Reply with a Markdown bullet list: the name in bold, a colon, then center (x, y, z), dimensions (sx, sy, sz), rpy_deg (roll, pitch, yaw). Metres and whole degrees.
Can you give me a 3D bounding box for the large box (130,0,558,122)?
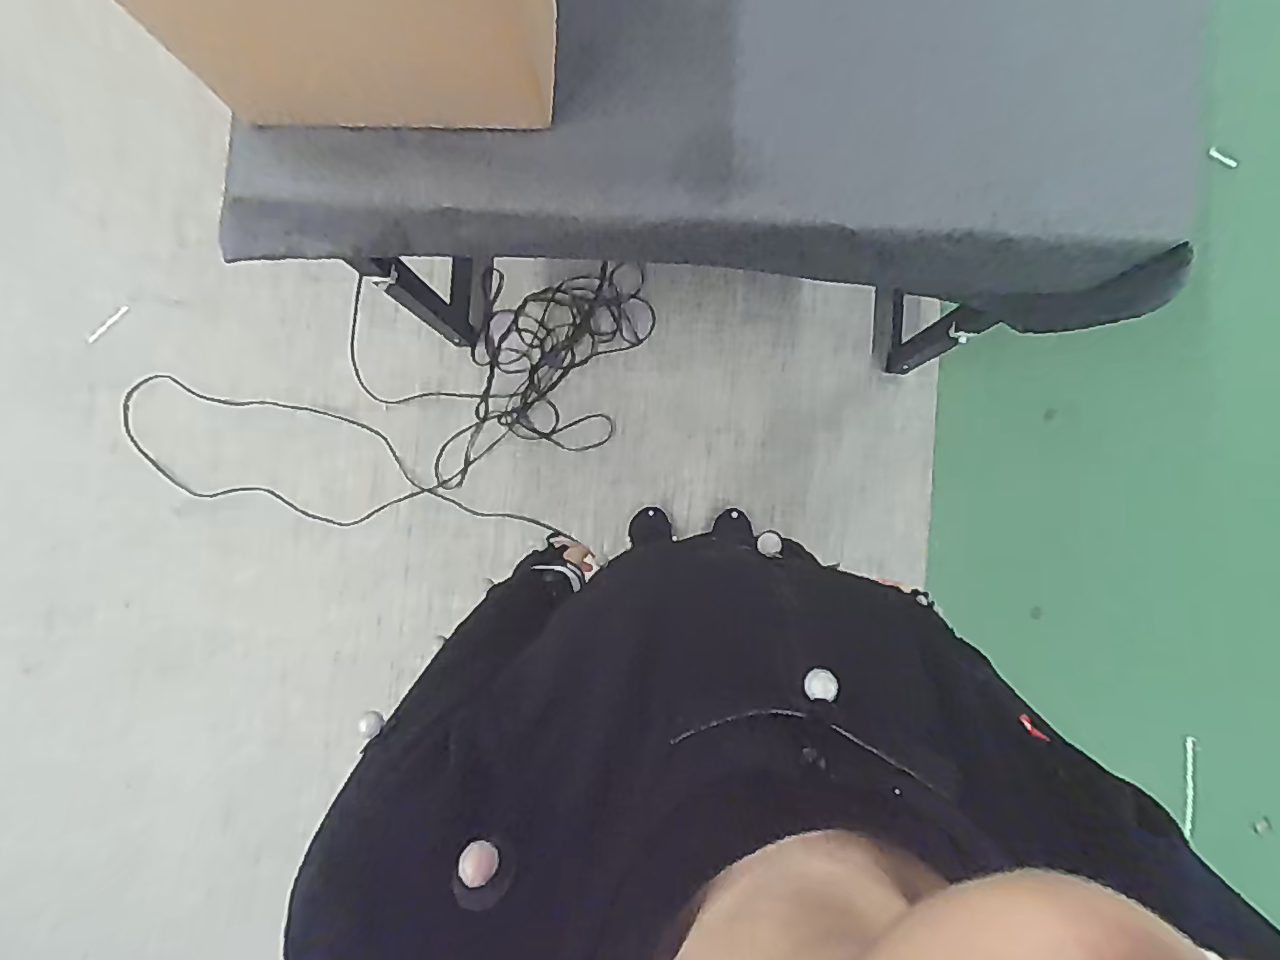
- **large box**: center (-0.305, -0.616, 0.551), dimensions (0.408, 0.320, 0.320), rpy_deg (1, 88, 1)
